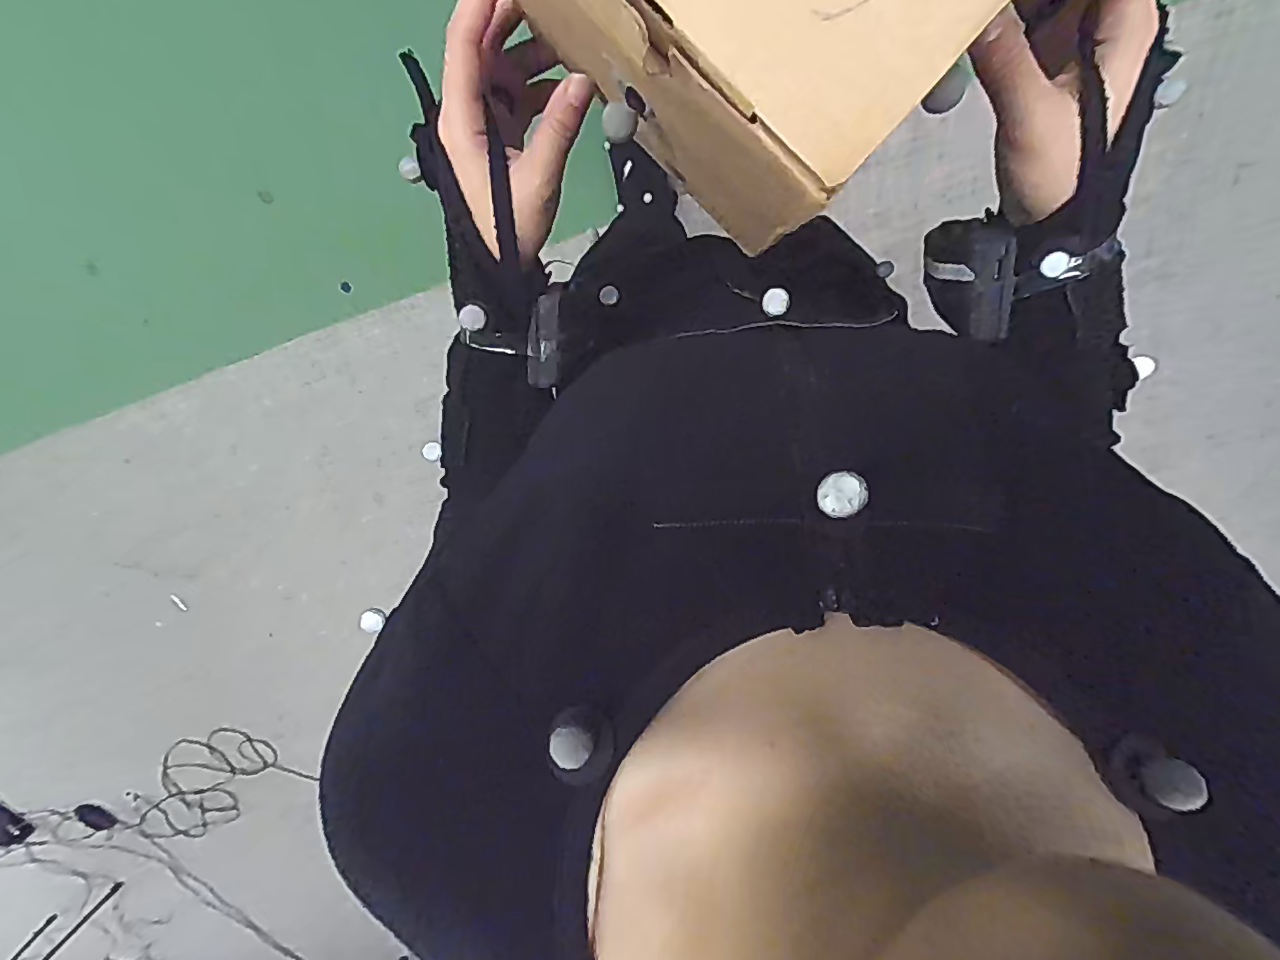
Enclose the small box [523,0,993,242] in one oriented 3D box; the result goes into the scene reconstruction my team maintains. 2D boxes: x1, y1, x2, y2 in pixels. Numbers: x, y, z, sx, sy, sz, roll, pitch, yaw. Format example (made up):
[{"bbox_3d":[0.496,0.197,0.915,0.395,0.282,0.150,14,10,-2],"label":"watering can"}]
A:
[{"bbox_3d":[0.054,-0.217,0.203,0.168,0.176,0.179,41,107,-9],"label":"small box"}]
